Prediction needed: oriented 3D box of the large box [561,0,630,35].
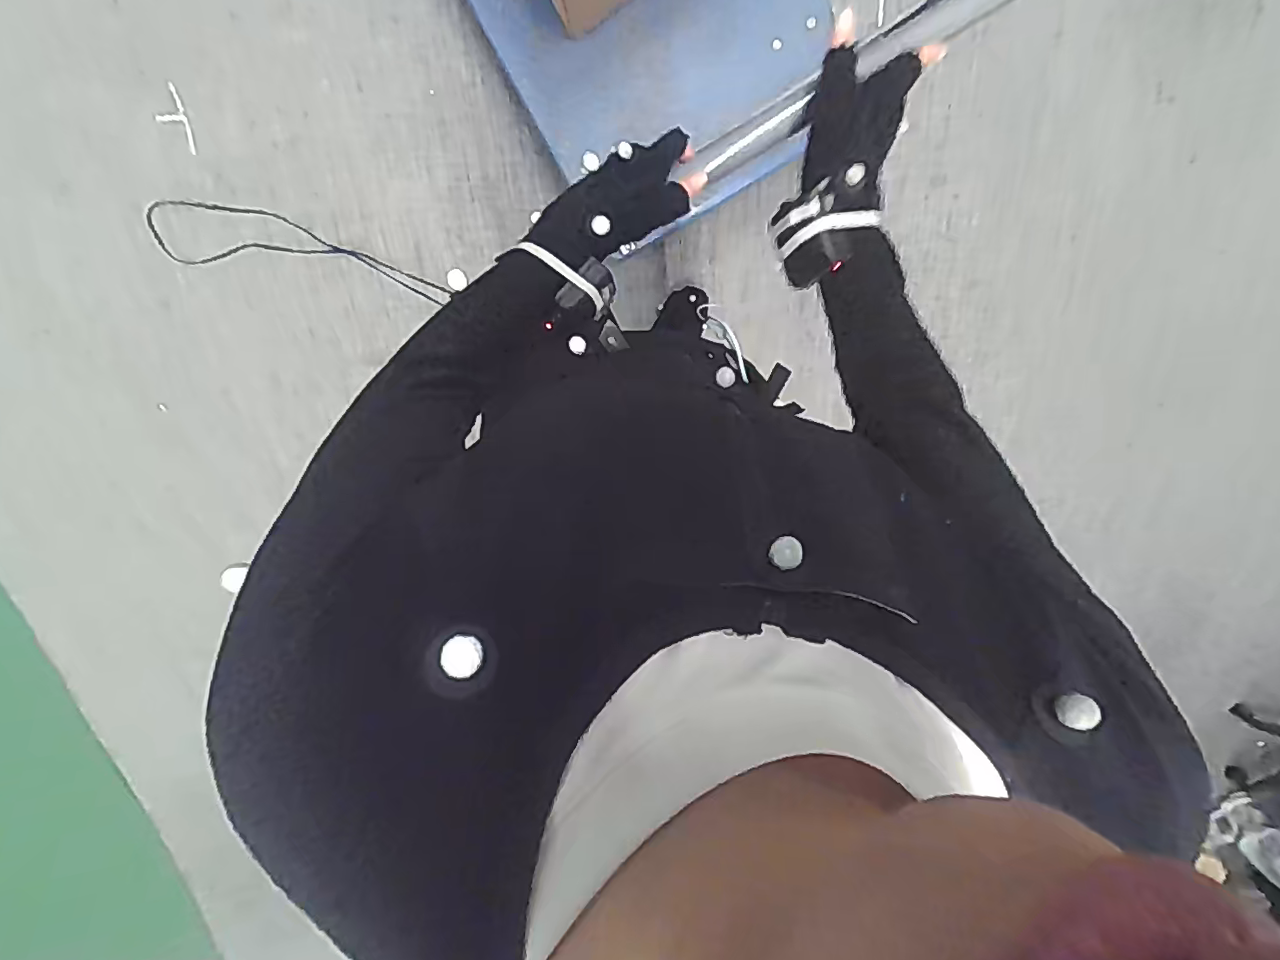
[{"bbox_3d":[-0.019,-0.979,0.779,0.408,0.320,0.320,-30,109,12],"label":"large box"}]
